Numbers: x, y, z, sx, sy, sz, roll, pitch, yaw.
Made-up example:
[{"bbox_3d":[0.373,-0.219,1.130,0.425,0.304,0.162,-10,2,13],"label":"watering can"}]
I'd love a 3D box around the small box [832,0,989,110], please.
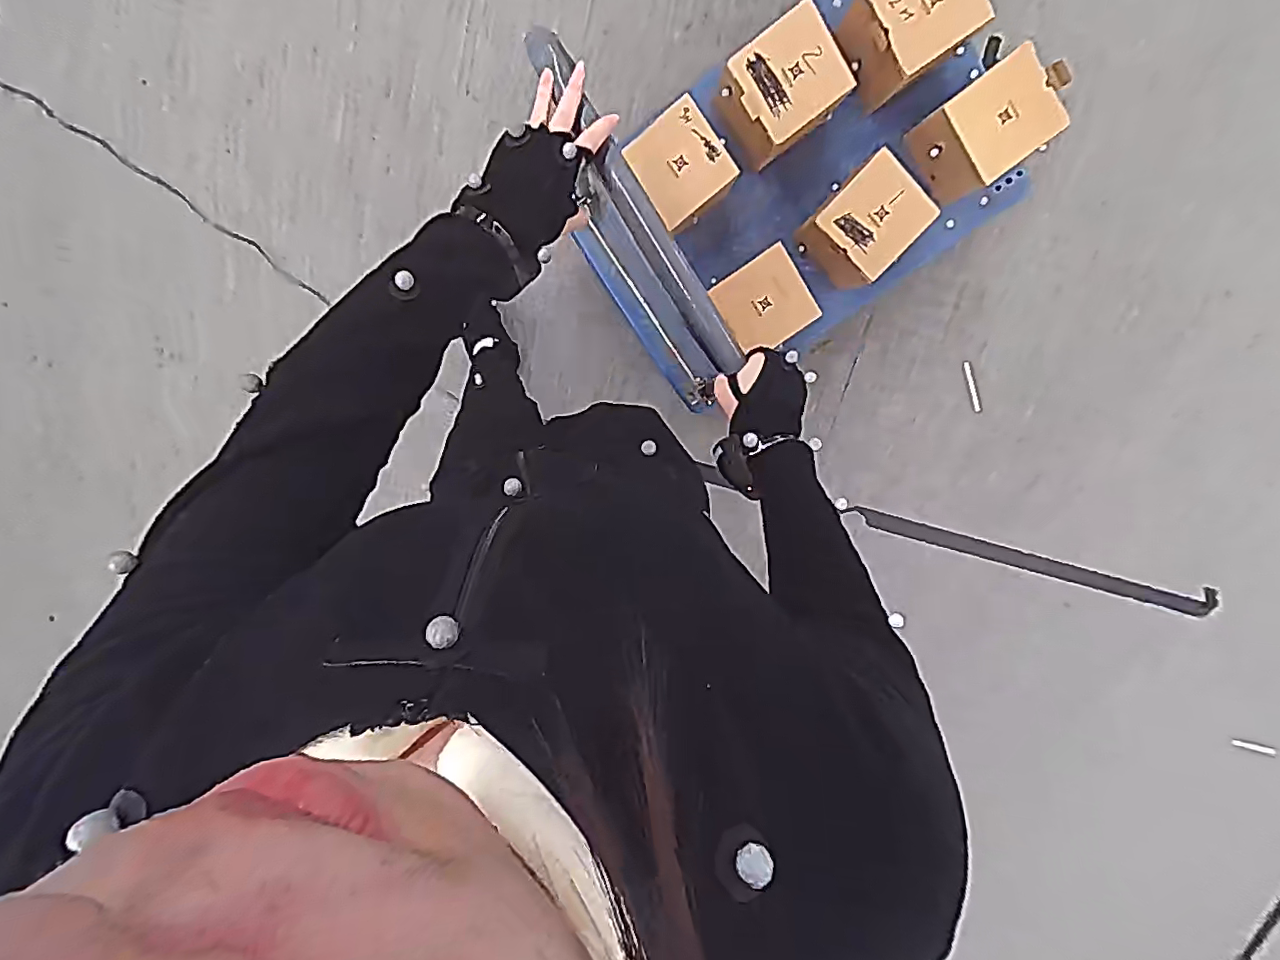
[{"bbox_3d":[0.495,-0.847,1.011,0.179,0.176,0.168,-32,102,8],"label":"small box"}]

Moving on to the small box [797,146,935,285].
[{"bbox_3d":[0.441,-0.519,1.095,0.168,0.176,0.179,43,99,-10],"label":"small box"}]

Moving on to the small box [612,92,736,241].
[{"bbox_3d":[0.064,-0.602,1.069,0.179,0.176,0.168,-37,103,8],"label":"small box"}]

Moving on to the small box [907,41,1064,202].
[{"bbox_3d":[0.656,-0.682,1.056,0.179,0.176,0.168,-36,101,8],"label":"small box"}]

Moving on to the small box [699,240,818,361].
[{"bbox_3d":[0.236,-0.367,1.133,0.179,0.176,0.168,-33,103,7],"label":"small box"}]
